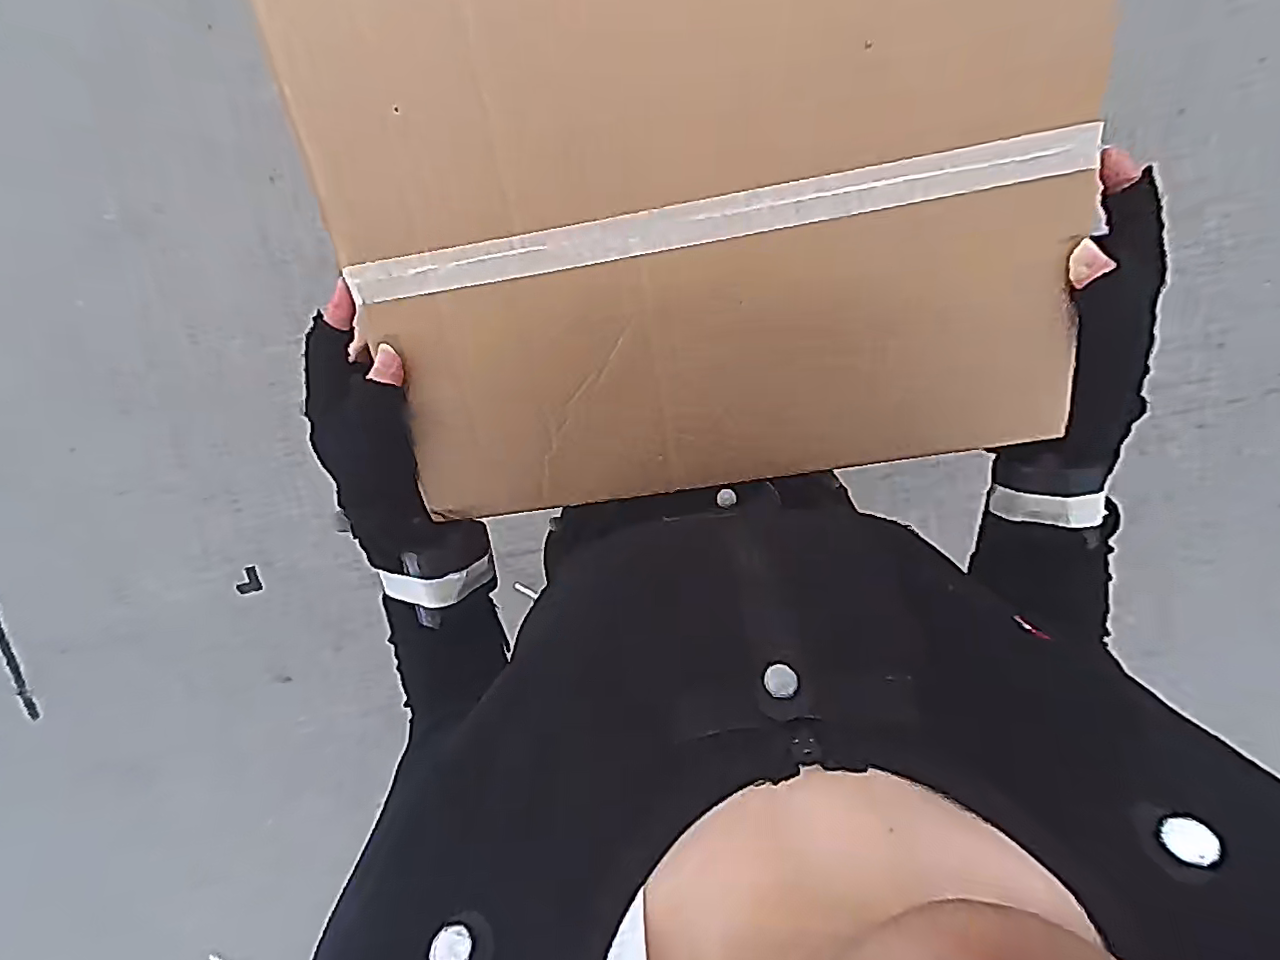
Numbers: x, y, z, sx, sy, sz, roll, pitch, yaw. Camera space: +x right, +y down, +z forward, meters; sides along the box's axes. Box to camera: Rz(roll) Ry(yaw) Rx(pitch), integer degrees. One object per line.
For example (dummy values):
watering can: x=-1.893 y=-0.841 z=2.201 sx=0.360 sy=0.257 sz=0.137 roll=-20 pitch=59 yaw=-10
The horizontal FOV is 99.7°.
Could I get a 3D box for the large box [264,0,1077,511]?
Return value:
large box: x=0.034 y=-0.204 z=0.443 sx=0.408 sy=0.320 sz=0.320 roll=-8 pitch=111 yaw=5
